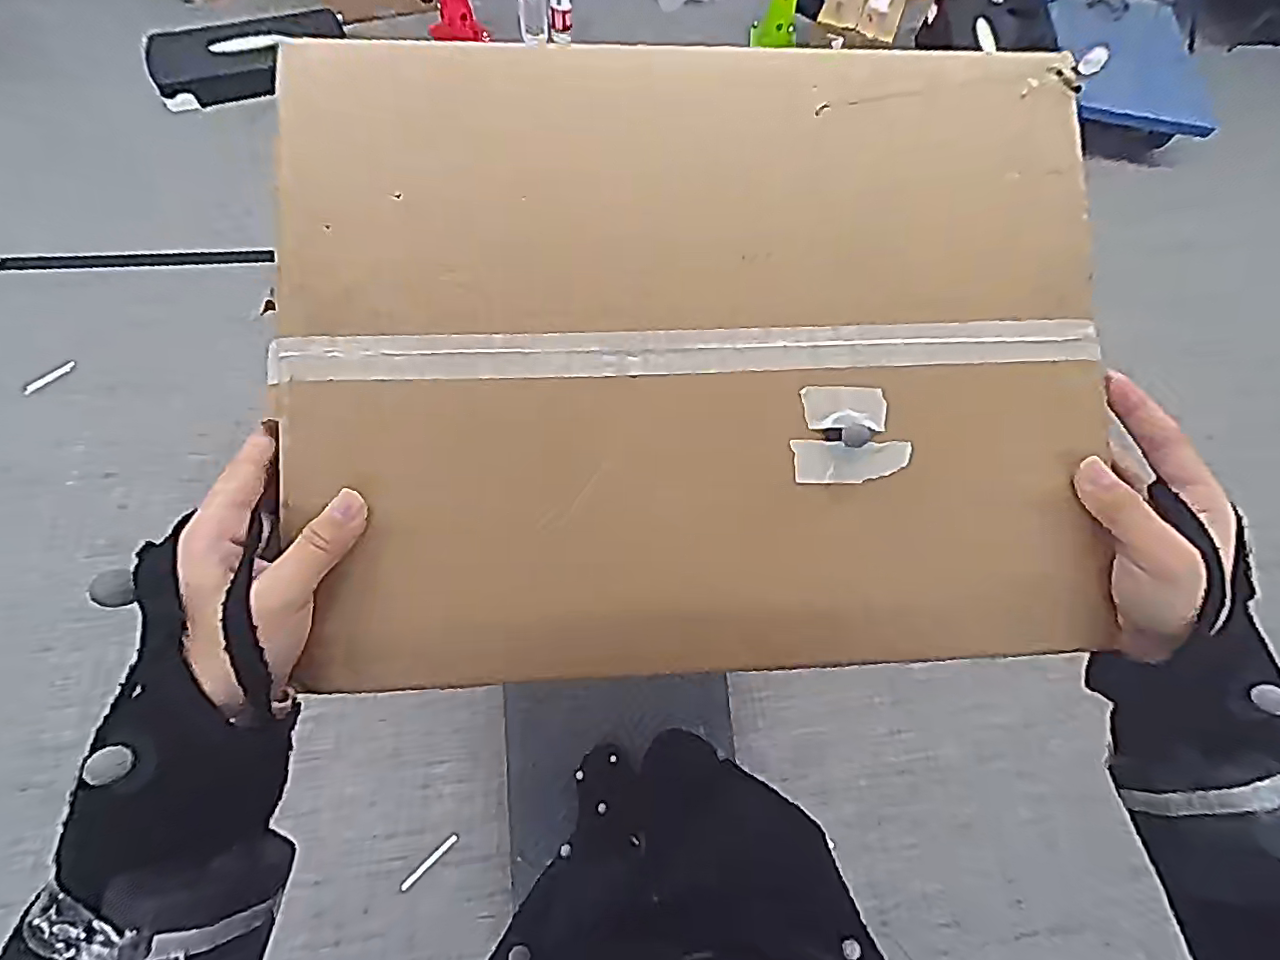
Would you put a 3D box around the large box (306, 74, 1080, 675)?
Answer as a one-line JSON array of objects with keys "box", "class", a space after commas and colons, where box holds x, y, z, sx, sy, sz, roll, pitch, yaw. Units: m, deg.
[{"box": [0.020, -0.058, 0.432, 0.408, 0.320, 0.320, -2, 88, -4], "class": "large box"}]
